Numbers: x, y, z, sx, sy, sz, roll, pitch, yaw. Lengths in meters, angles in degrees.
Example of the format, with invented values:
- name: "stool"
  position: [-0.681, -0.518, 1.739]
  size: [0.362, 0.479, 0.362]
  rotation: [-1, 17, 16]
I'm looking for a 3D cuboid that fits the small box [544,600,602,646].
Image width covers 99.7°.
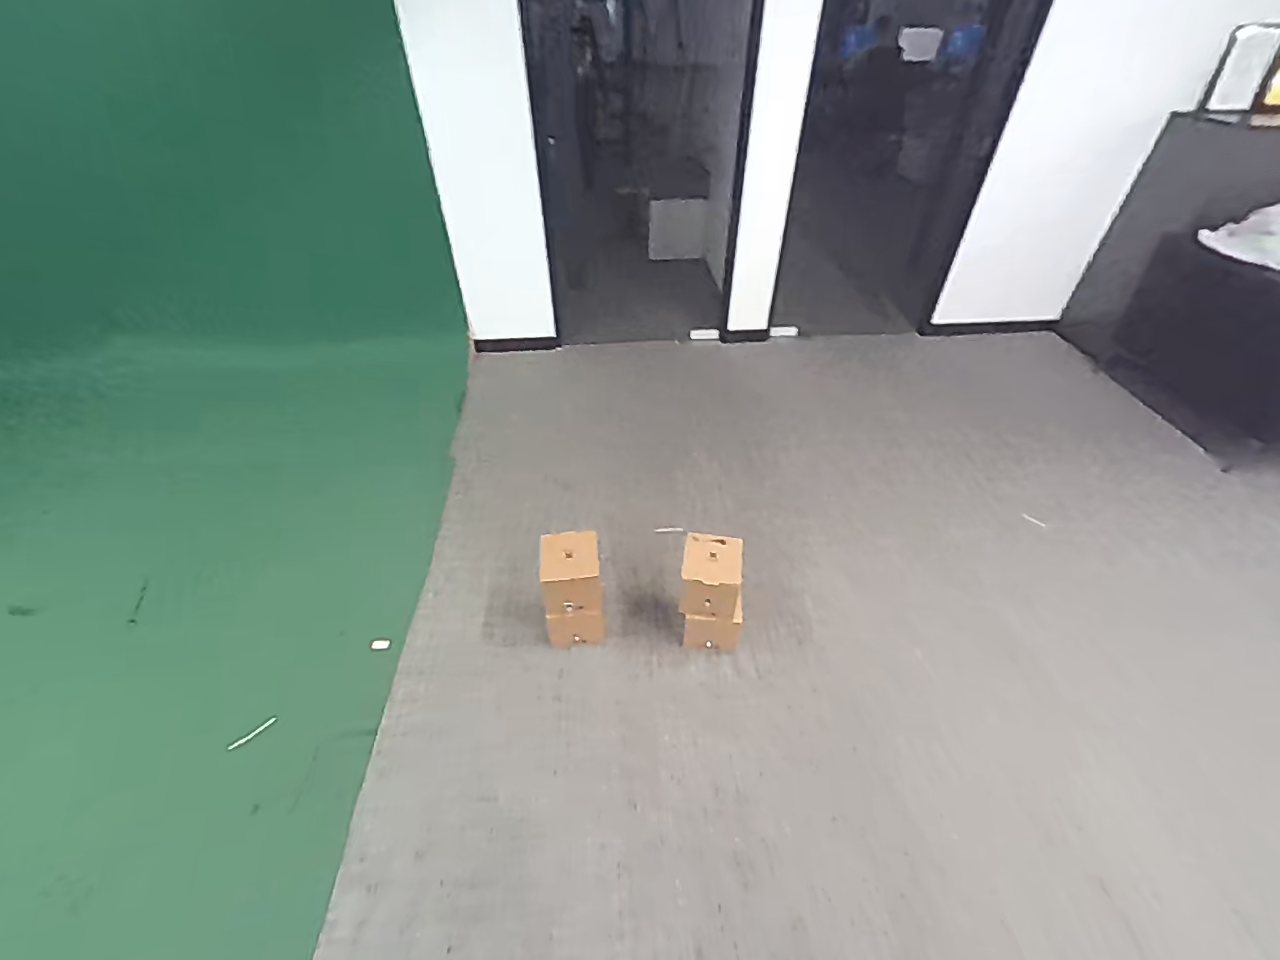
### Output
- name: "small box"
  position: [-0.209, 0.390, 1.687]
  size: [0.168, 0.176, 0.179]
  rotation: [-5, 42, -6]

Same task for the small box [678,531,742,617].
- name: "small box"
  position: [0.202, 0.277, 1.575]
  size: [0.168, 0.176, 0.179]
  rotation: [7, 43, 7]

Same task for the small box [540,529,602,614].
- name: "small box"
  position: [-0.202, 0.267, 1.583]
  size: [0.168, 0.176, 0.179]
  rotation: [-5, 42, -5]

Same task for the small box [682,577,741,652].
- name: "small box"
  position: [0.219, 0.406, 1.676]
  size: [0.168, 0.176, 0.179]
  rotation: [4, 43, 4]
